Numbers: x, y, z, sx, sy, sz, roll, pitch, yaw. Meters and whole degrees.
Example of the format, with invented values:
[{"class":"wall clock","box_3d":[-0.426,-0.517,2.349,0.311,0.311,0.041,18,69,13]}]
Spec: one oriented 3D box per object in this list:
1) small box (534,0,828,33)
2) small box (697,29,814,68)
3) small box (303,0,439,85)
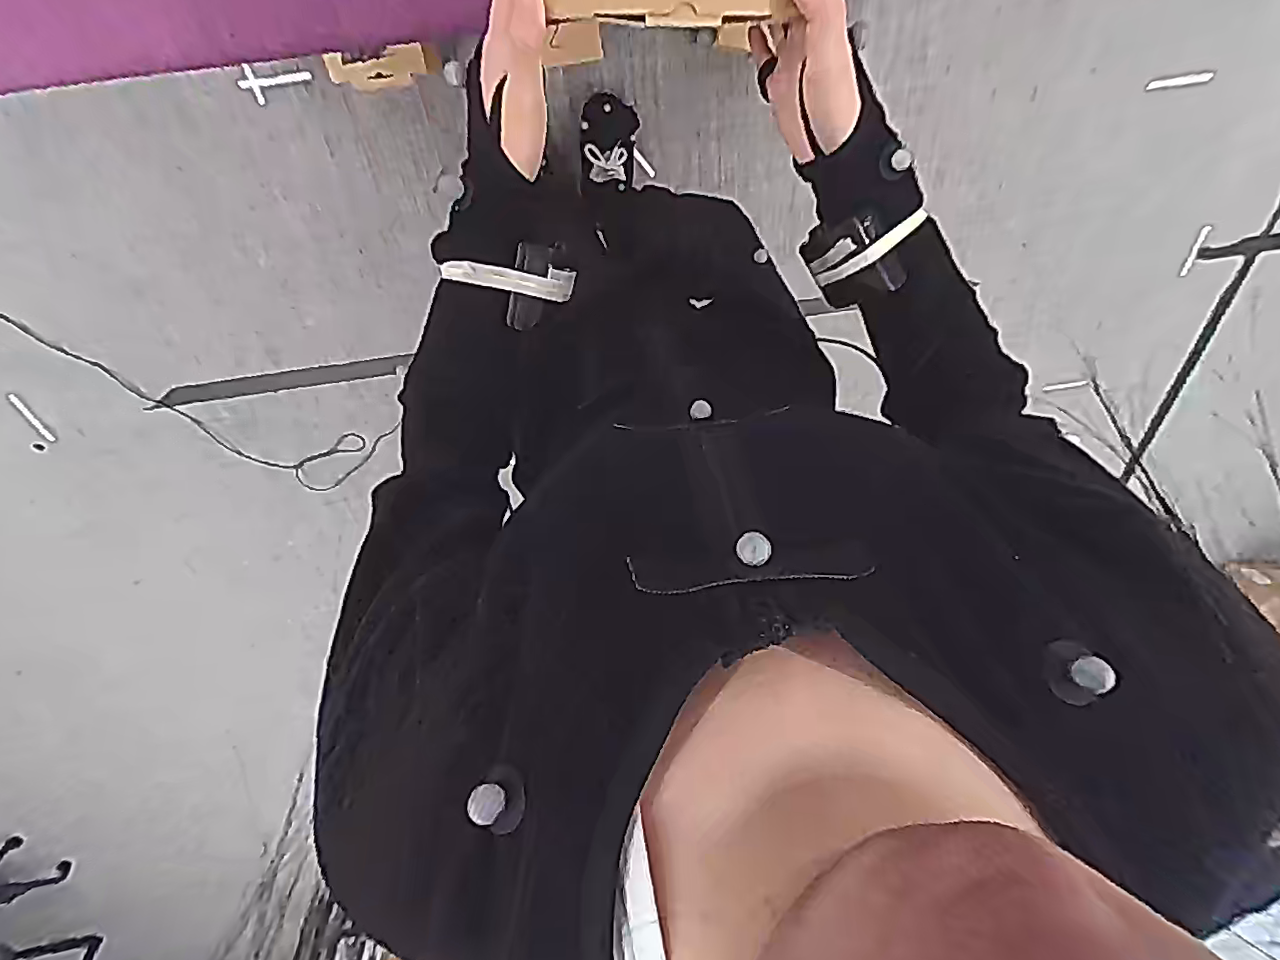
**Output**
[{"class":"small box","box_3d":[0.015,-0.371,0.303,0.168,0.176,0.179,-7,132,-9]},{"class":"small box","box_3d":[0.221,-0.882,0.995,0.179,0.176,0.168,4,127,-12]},{"class":"small box","box_3d":[-0.462,-0.802,0.936,0.168,0.176,0.179,-9,128,-3]}]
